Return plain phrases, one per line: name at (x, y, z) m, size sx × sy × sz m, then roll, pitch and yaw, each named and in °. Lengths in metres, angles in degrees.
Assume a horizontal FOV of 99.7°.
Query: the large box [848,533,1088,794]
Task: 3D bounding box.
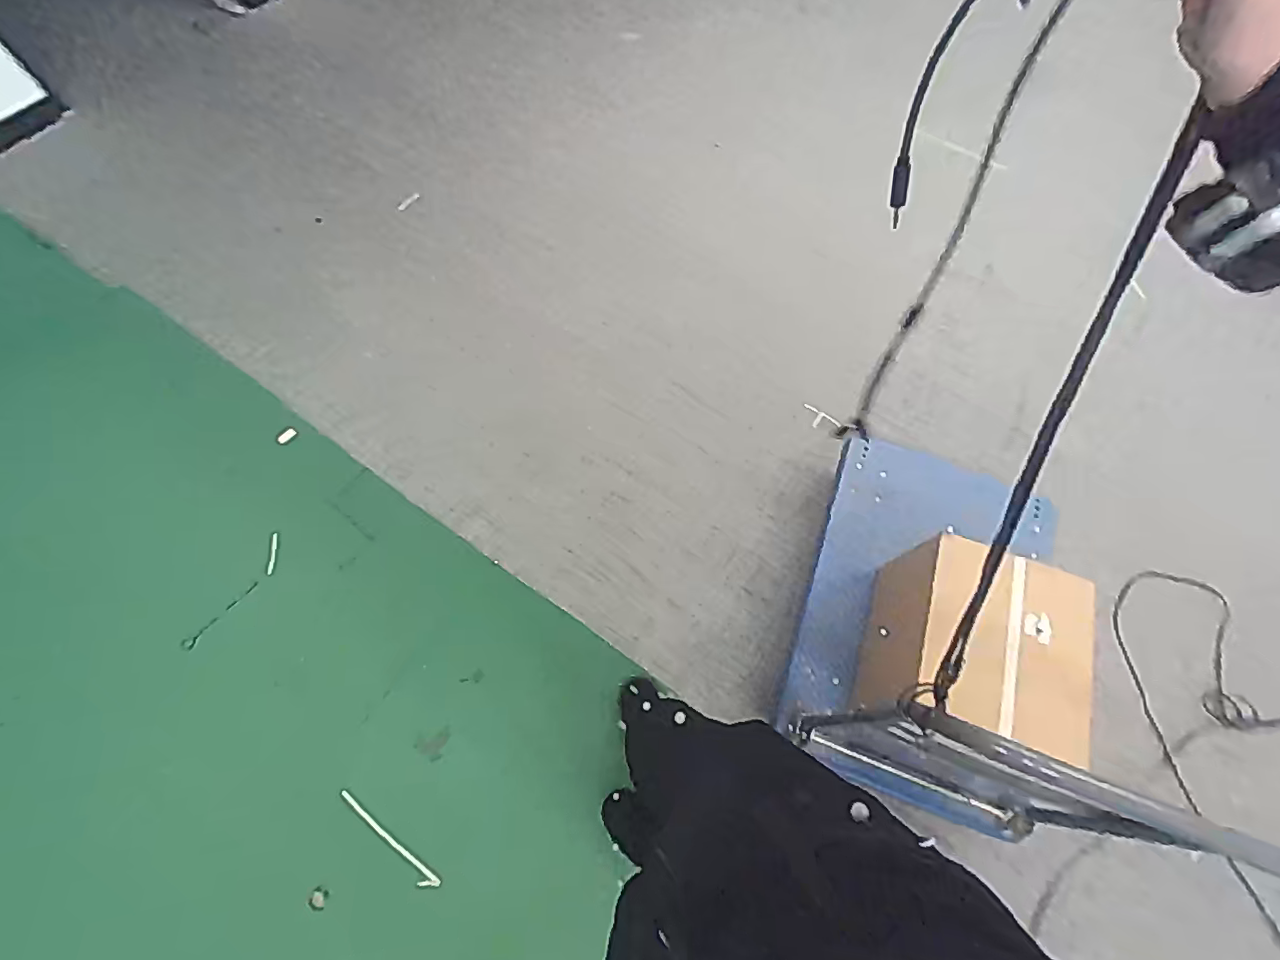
large box at (0.684, 0.388, 1.159) m, size 0.320 × 0.320 × 0.408 m, roll 20°, pitch 67°, yaw 6°
